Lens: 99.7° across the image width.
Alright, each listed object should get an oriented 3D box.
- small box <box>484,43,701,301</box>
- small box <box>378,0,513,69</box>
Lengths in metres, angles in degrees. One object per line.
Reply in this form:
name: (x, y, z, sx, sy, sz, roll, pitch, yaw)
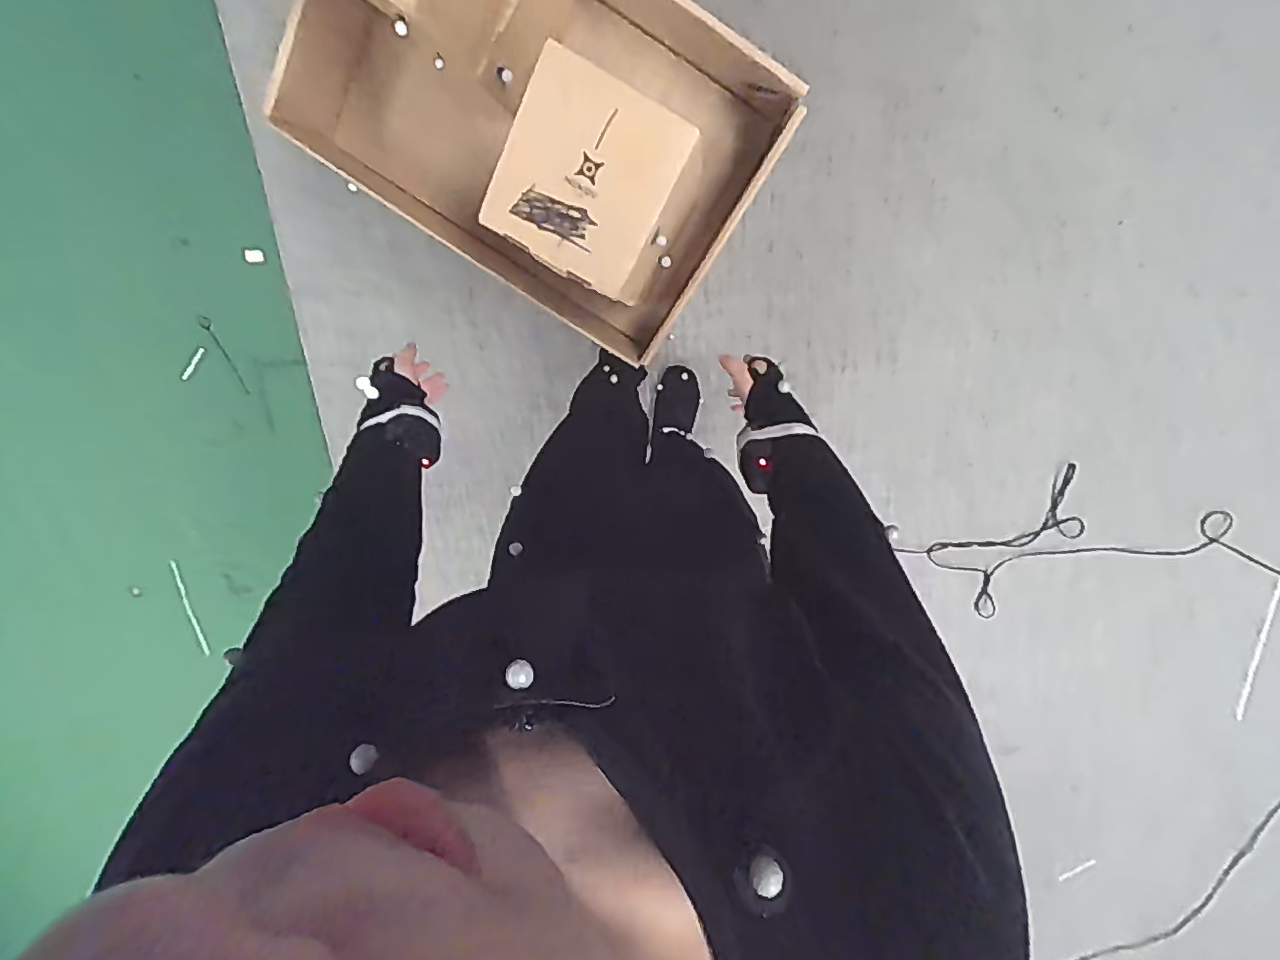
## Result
small box: (-0.042, -0.321, 0.607, 0.168, 0.176, 0.179, 29, 109, -4)
small box: (-0.221, -0.570, 0.543, 0.168, 0.176, 0.179, 34, 108, -7)
